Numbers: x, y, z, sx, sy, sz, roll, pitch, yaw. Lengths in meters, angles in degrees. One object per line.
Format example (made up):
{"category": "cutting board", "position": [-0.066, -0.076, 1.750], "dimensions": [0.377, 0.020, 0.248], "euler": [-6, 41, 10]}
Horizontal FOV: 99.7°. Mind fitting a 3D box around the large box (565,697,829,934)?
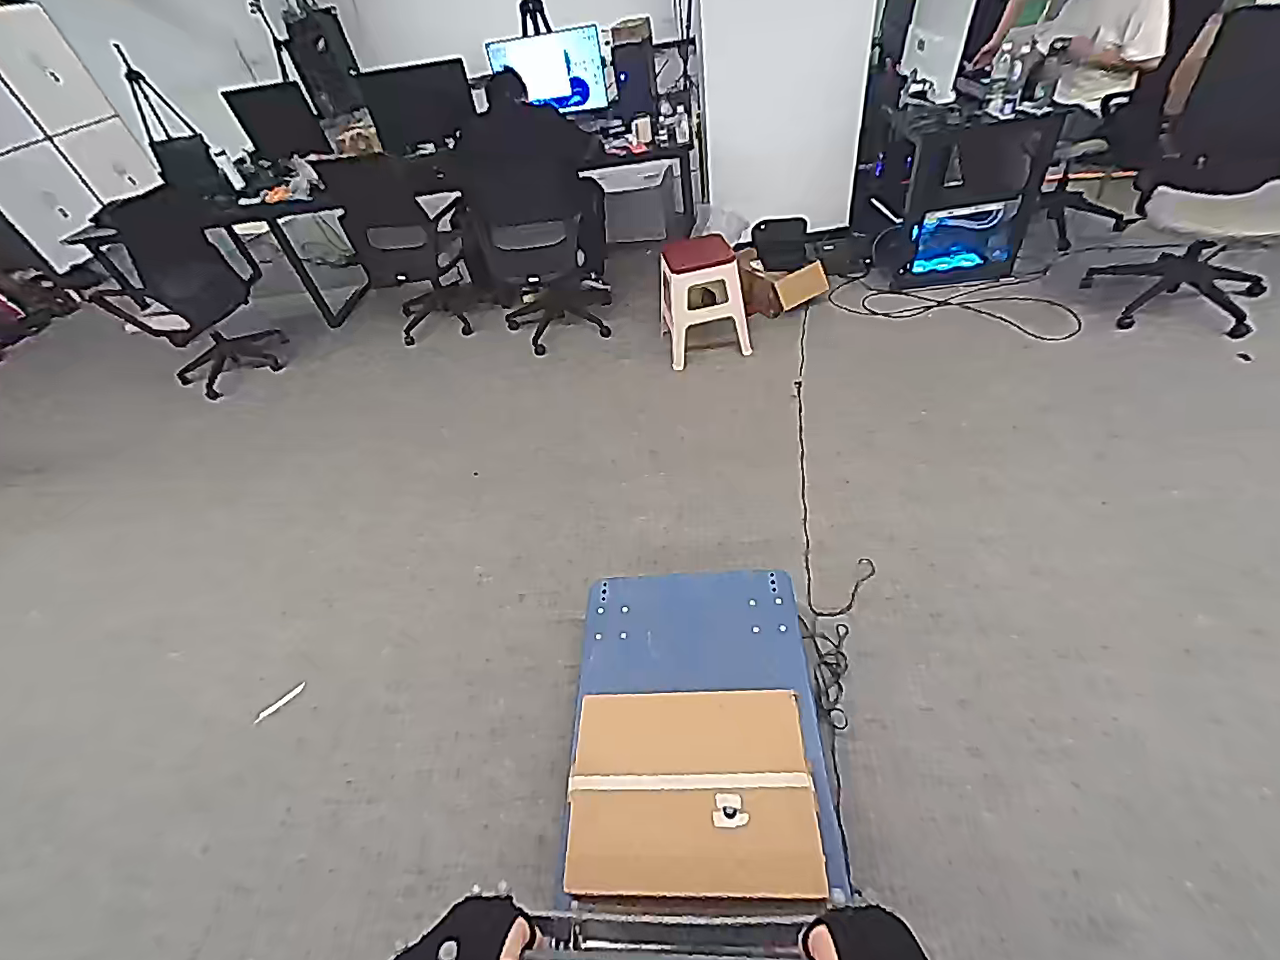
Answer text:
{"category": "large box", "position": [0.100, 0.628, 1.008], "dimensions": [0.408, 0.320, 0.320], "euler": [-4, 46, 6]}
